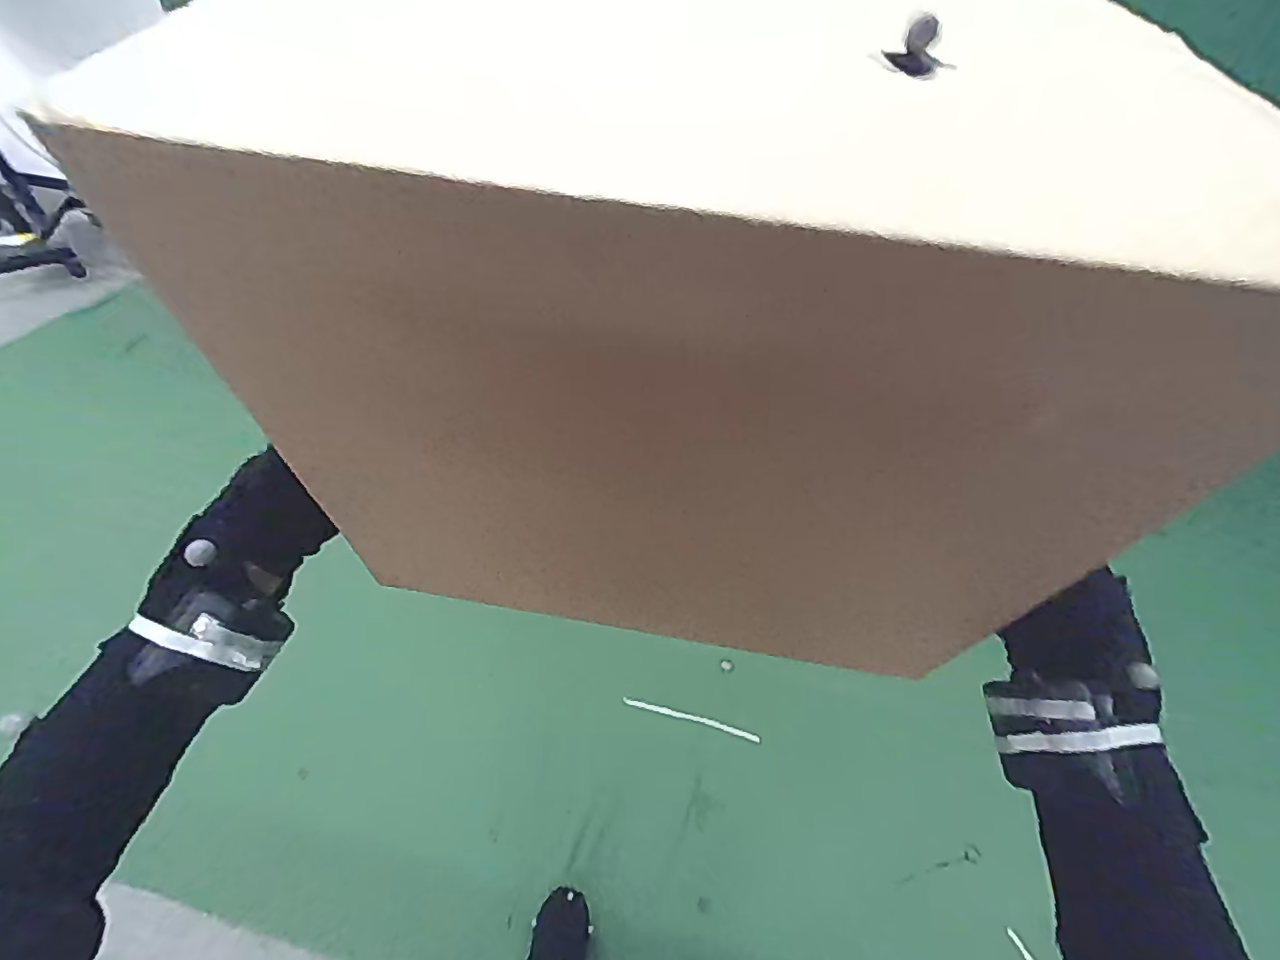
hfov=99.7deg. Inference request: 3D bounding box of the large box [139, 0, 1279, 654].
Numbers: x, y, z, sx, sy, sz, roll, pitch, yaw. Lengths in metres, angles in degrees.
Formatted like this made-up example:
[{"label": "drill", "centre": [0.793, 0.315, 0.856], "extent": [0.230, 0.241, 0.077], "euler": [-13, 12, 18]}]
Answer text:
[{"label": "large box", "centre": [0.042, -0.106, 0.375], "extent": [0.408, 0.320, 0.320], "euler": [10, 55, 2]}]
